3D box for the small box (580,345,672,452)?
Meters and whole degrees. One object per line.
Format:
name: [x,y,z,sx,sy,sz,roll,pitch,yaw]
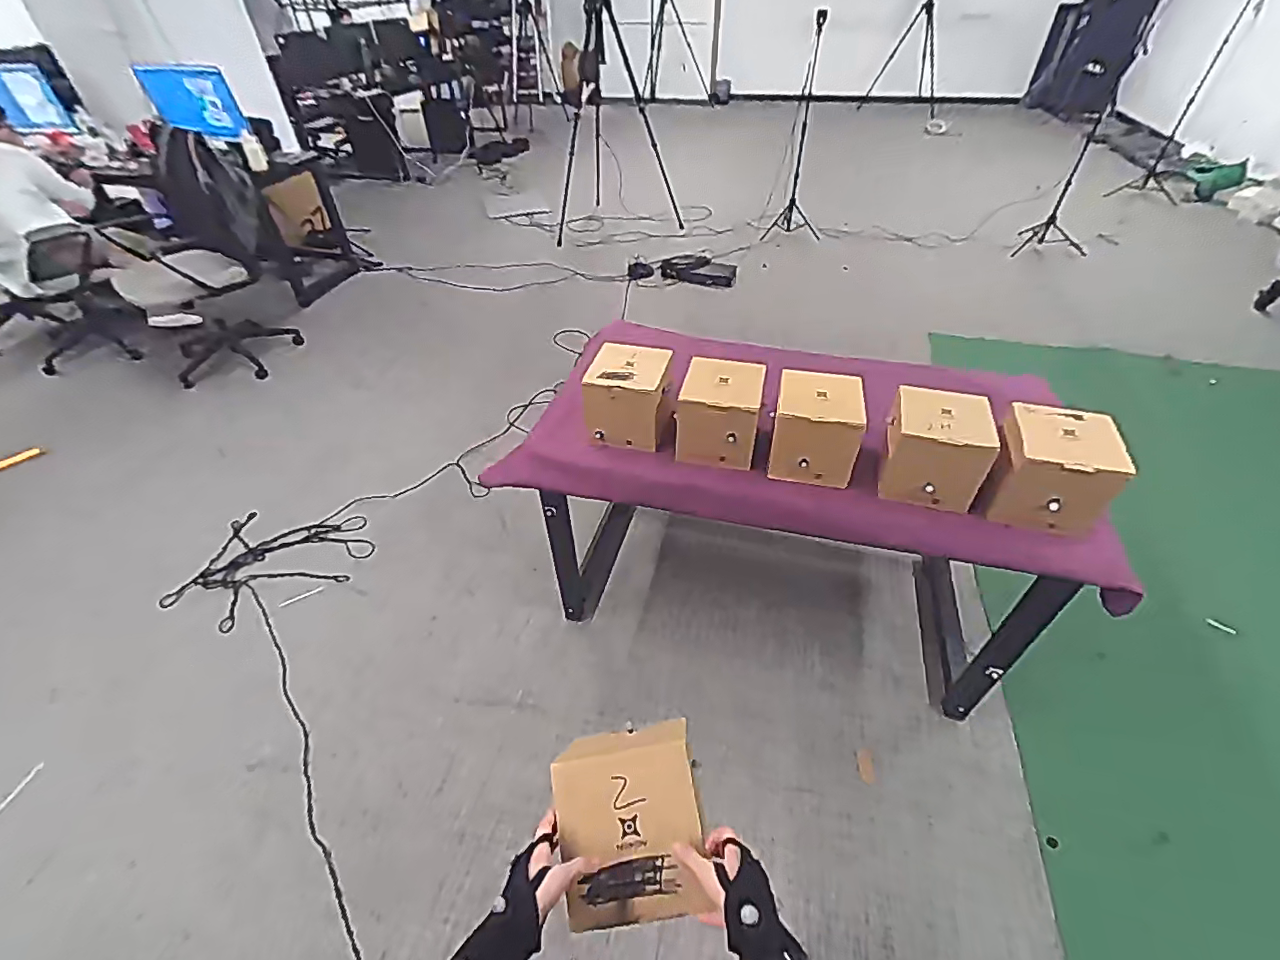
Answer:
small box: [-0.024,-0.185,1.237,0.168,0.176,0.179,9,44,12]
